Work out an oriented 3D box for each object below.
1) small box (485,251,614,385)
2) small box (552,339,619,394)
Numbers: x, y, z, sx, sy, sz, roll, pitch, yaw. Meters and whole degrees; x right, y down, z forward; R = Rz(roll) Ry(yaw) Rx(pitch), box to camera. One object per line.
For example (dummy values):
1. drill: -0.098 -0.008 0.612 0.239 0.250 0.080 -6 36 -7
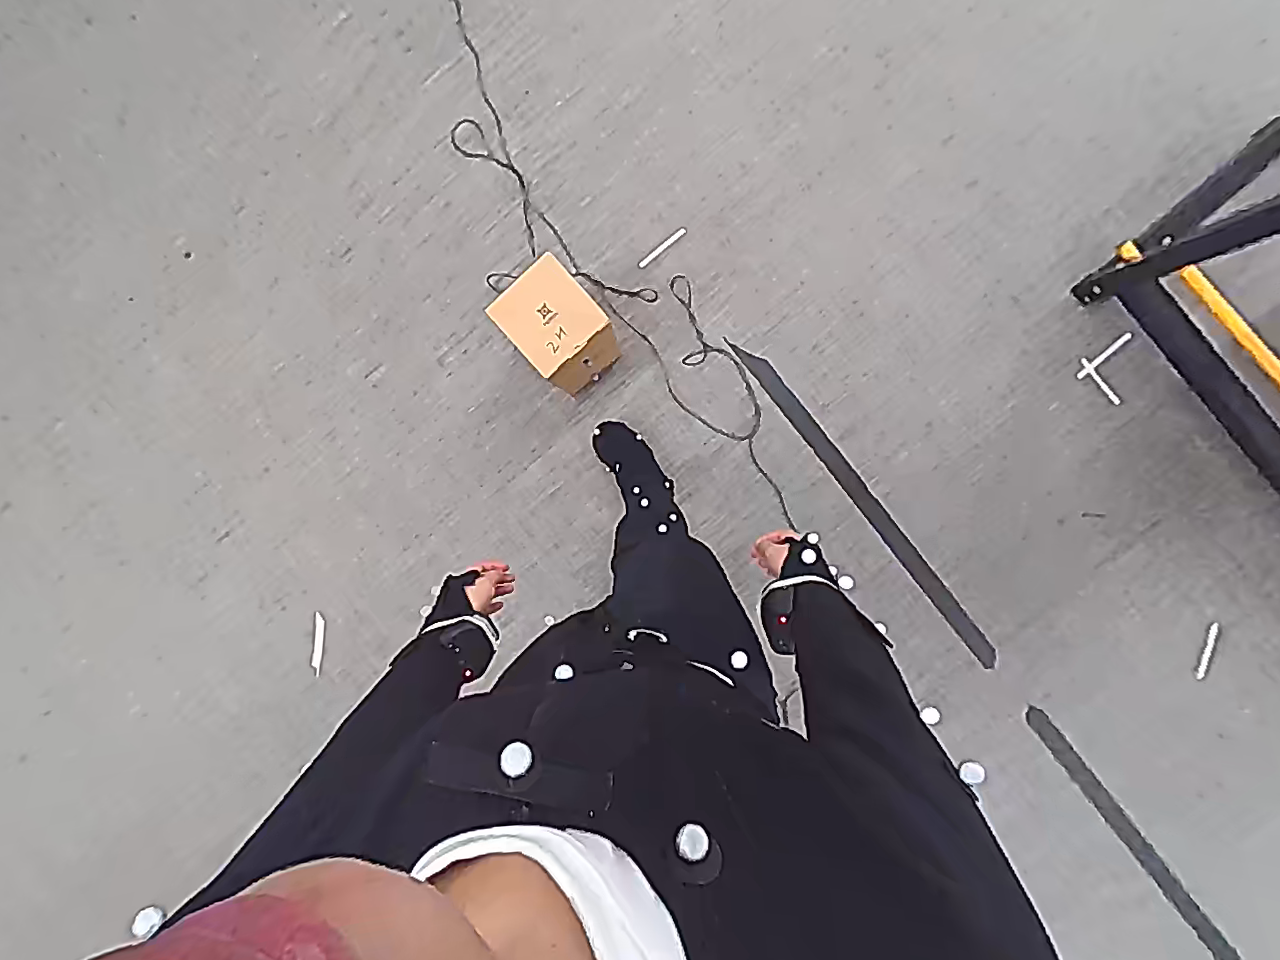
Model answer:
1. small box: -0.169 -0.308 1.072 0.168 0.176 0.179 -41 91 4
2. small box: -0.165 -0.315 1.237 0.168 0.176 0.179 -40 92 3
